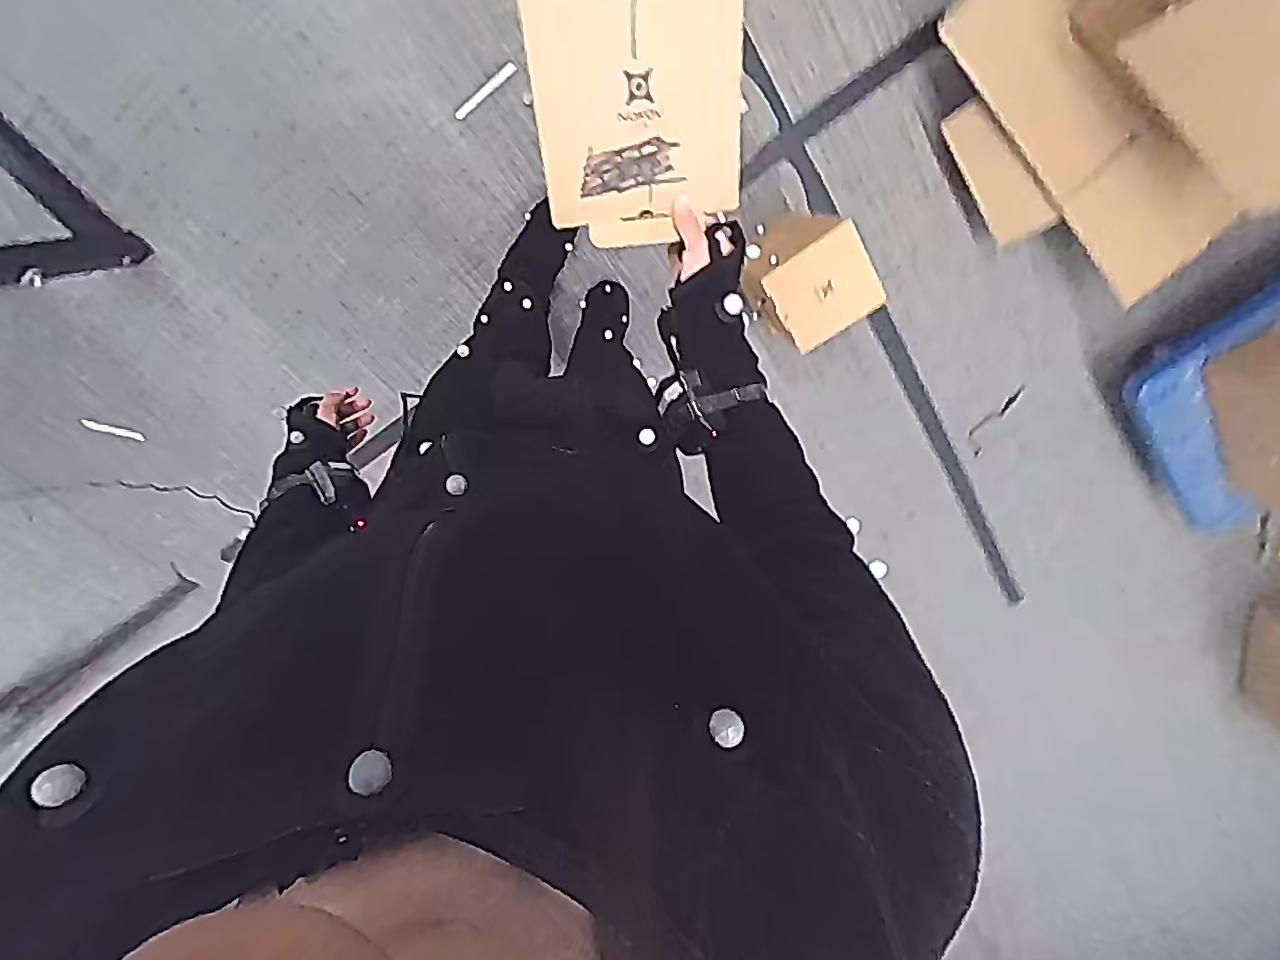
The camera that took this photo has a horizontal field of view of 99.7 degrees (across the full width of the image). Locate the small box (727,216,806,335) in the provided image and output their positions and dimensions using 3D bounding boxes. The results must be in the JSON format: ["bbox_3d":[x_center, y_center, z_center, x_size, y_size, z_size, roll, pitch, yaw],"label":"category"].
[{"bbox_3d":[0.307,-0.450,1.178,0.168,0.176,0.179,-28,117,12],"label":"small box"}]

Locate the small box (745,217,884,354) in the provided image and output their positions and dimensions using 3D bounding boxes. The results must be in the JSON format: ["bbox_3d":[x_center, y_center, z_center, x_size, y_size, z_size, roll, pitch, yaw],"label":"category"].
[{"bbox_3d":[0.325,-0.377,1.033,0.179,0.176,0.168,-32,117,15],"label":"small box"}]

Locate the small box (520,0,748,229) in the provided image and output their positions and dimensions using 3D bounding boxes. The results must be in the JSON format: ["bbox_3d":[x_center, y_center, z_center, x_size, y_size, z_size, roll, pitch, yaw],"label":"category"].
[{"bbox_3d":[-0.004,-0.342,0.485,0.168,0.176,0.179,-7,125,0],"label":"small box"}]
